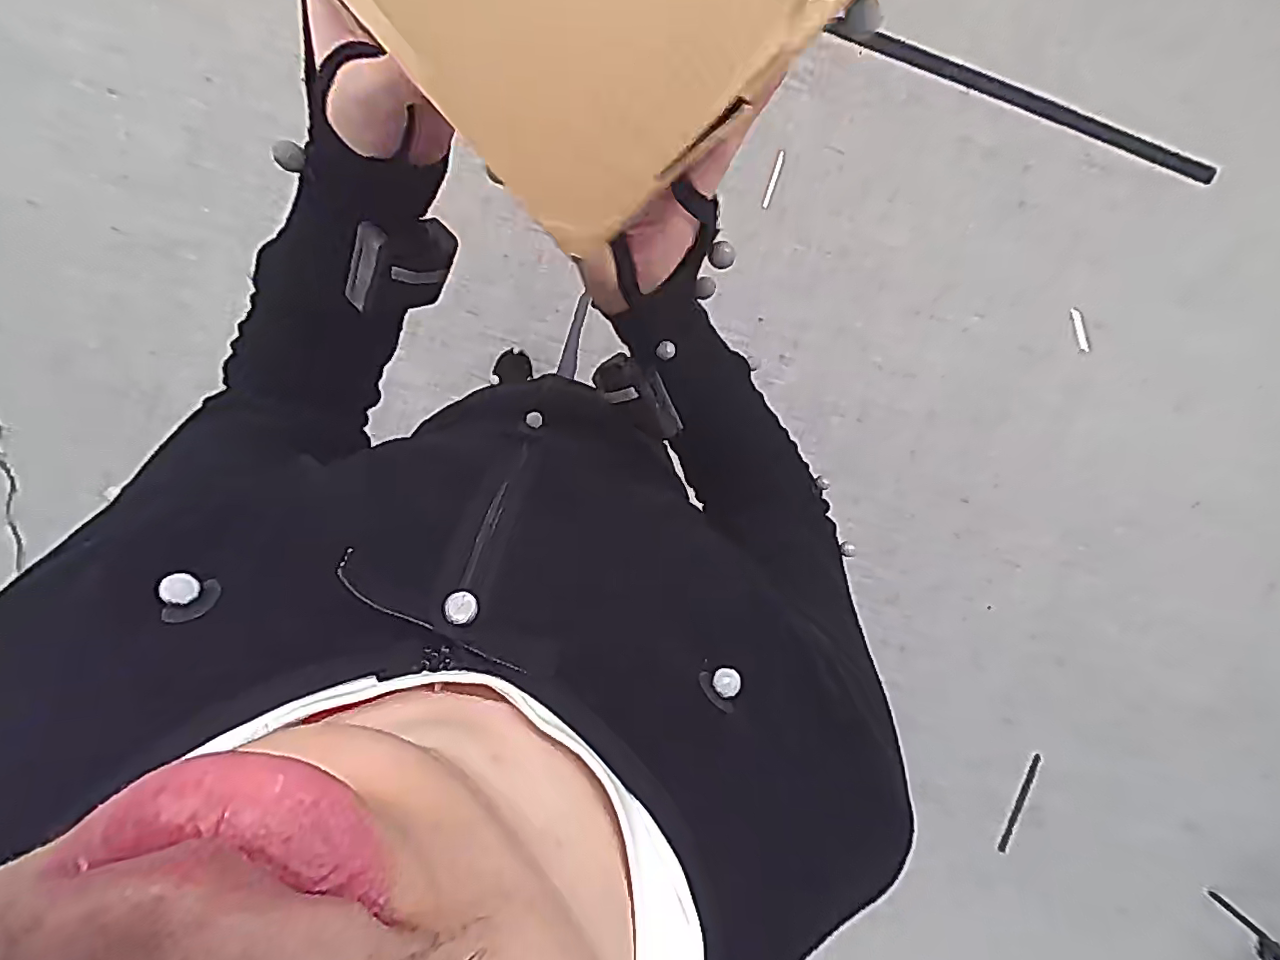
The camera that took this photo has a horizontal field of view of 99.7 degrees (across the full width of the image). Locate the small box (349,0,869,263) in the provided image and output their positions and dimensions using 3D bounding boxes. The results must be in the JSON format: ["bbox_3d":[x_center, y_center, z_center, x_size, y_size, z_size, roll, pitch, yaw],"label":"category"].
[{"bbox_3d":[-0.013,-0.209,0.182,0.168,0.176,0.179,-39,112,19],"label":"small box"}]
